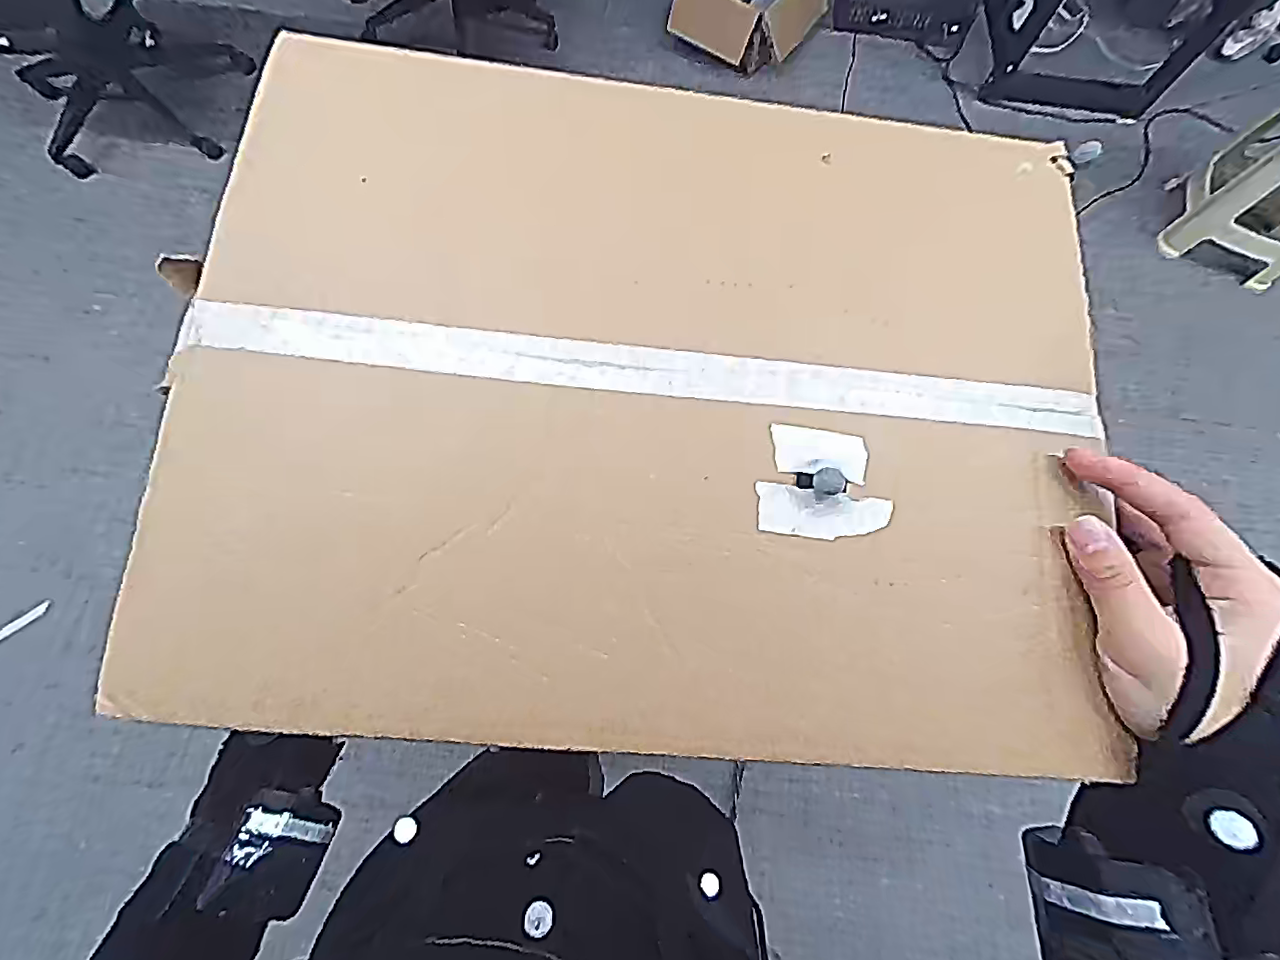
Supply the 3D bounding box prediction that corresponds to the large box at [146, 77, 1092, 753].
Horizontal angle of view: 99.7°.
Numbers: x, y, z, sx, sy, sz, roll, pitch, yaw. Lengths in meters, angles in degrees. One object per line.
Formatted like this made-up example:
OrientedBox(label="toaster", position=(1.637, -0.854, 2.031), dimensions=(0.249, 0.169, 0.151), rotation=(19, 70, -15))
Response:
OrientedBox(label="large box", position=(-0.002, -0.010, 0.401), dimensions=(0.408, 0.320, 0.320), rotation=(5, 78, -5))
